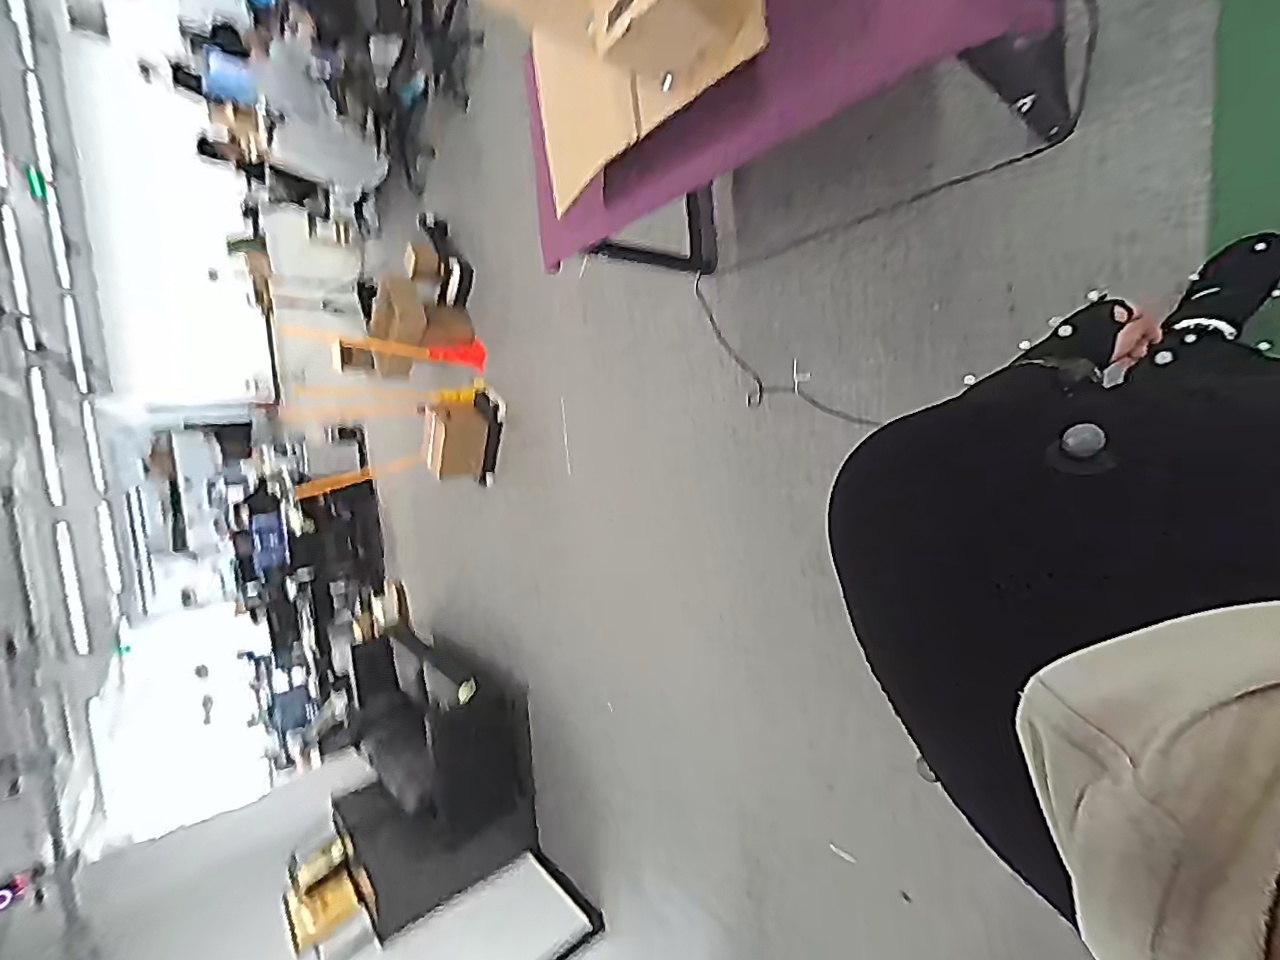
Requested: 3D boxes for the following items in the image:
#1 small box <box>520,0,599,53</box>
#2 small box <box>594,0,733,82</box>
[{"bbox_3d":[-0.119,-0.979,1.032,0.168,0.176,0.179,-1,97,47],"label":"small box"},{"bbox_3d":[0.039,-0.804,0.894,0.168,0.176,0.179,-2,95,47],"label":"small box"}]
